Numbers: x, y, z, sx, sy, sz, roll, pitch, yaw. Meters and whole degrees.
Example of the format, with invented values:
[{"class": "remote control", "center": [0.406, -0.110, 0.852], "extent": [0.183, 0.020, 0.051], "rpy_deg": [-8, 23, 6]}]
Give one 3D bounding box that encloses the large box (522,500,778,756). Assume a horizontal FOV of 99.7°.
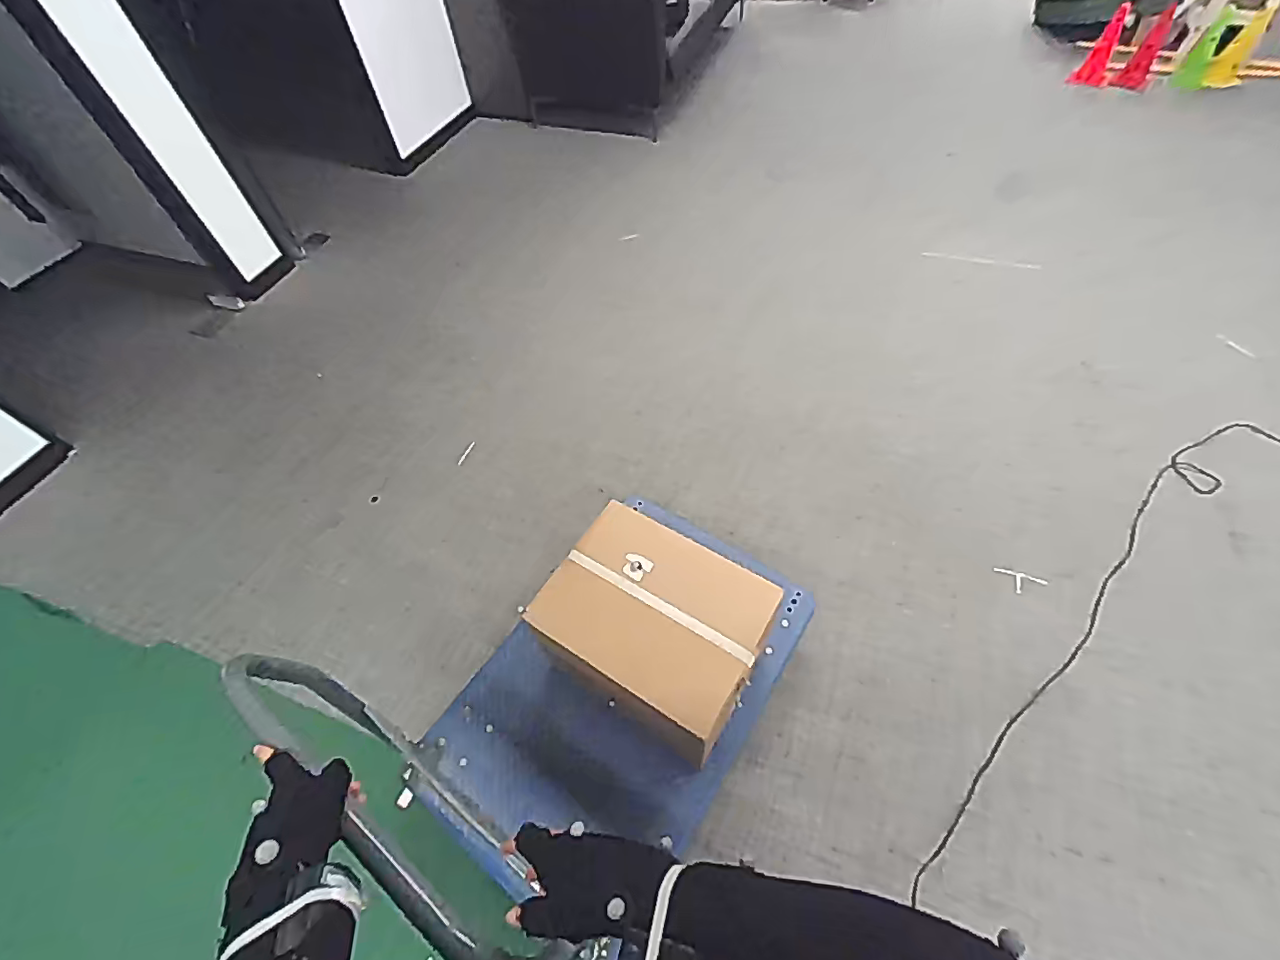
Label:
[{"class": "large box", "center": [0.033, 0.314, 1.148], "extent": [0.408, 0.320, 0.320], "rpy_deg": [26, 60, 22]}]
